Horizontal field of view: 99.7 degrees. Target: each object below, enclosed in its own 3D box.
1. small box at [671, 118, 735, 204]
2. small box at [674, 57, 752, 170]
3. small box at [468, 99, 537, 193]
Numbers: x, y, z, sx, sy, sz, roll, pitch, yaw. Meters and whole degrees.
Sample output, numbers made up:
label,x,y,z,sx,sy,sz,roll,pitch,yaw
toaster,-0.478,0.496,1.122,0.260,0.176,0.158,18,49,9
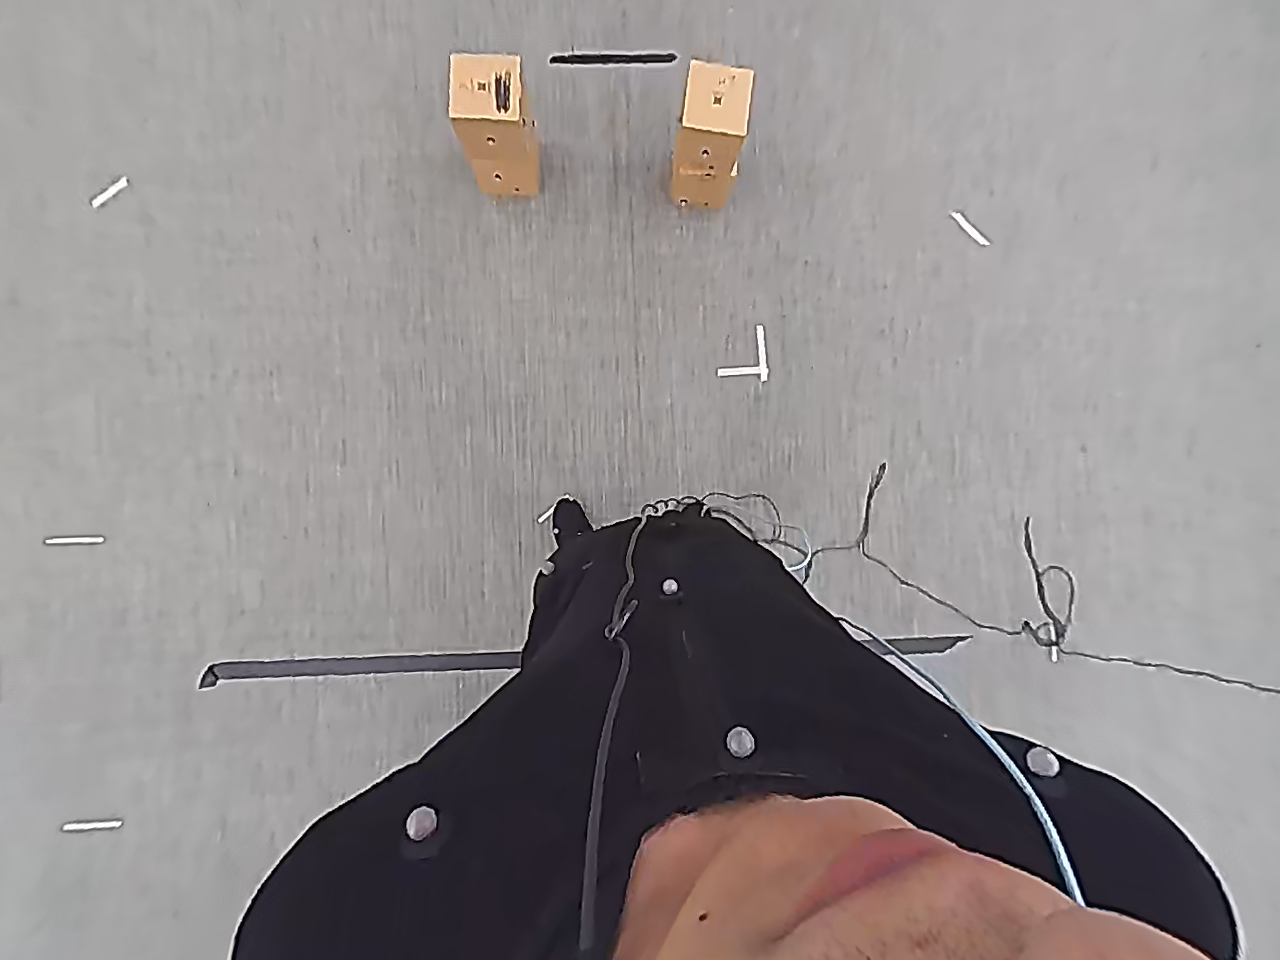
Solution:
label,x,y,z,sx,sy,sz,roll,pitch,yaw
small box,0.183,-0.939,1.591,0.168,0.176,0.179,1,88,-4
small box,0.186,-0.955,1.427,0.168,0.176,0.179,7,88,-4
small box,-0.390,-0.957,1.561,0.168,0.176,0.179,0,88,-3
